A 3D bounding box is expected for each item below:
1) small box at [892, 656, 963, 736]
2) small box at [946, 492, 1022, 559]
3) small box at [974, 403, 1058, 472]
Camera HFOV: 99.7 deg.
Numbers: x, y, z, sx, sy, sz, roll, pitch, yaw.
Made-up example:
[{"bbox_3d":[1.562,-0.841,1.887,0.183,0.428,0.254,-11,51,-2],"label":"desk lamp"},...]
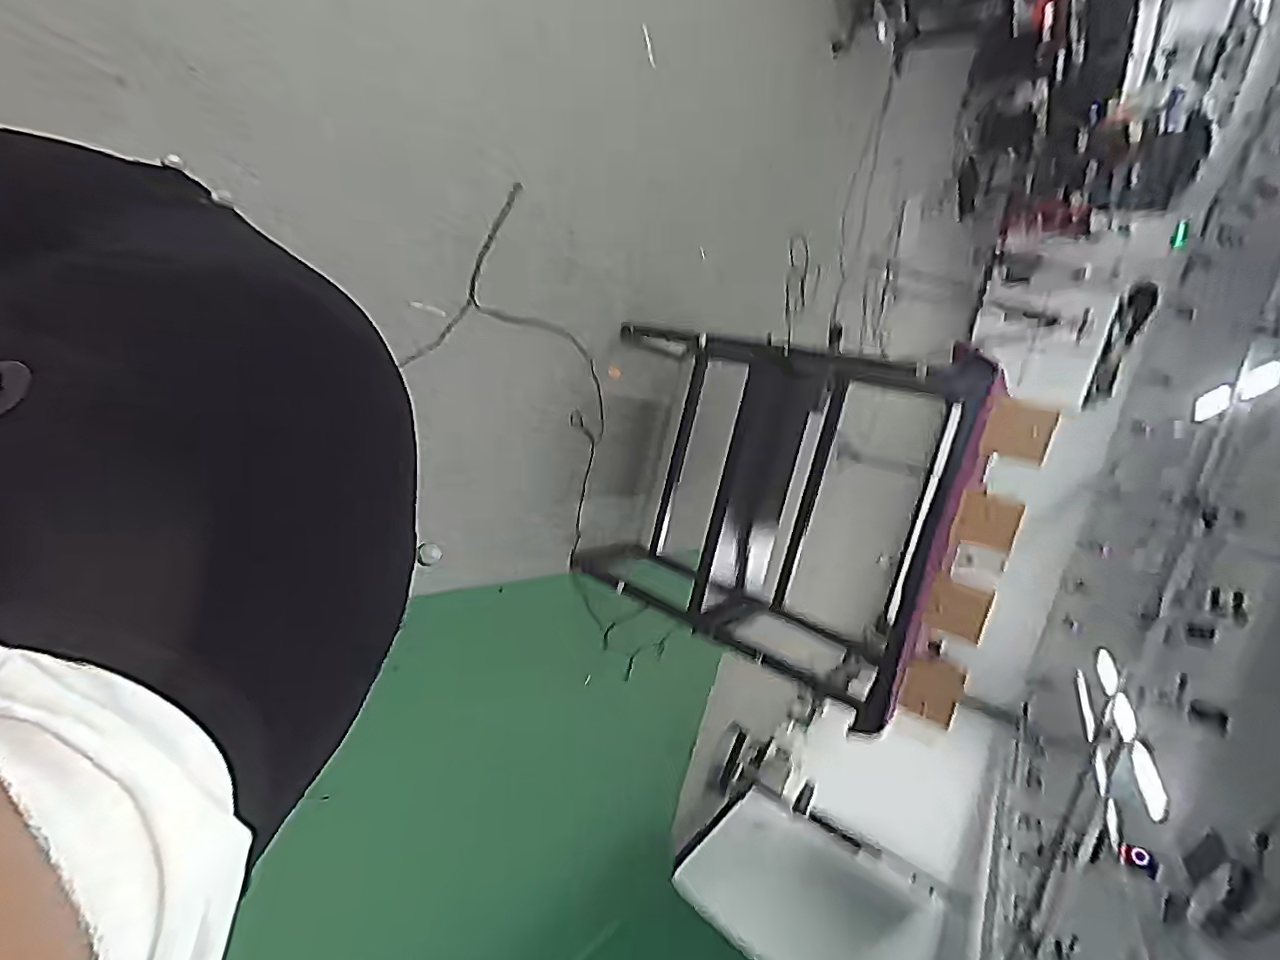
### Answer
[{"bbox_3d":[0.959,0.714,1.809,0.179,0.176,0.168,2,104,-56],"label":"small box"},{"bbox_3d":[1.079,0.139,1.701,0.179,0.176,0.168,1,105,-56],"label":"small box"},{"bbox_3d":[1.149,-0.132,1.661,0.168,0.176,0.179,1,106,-55],"label":"small box"}]
